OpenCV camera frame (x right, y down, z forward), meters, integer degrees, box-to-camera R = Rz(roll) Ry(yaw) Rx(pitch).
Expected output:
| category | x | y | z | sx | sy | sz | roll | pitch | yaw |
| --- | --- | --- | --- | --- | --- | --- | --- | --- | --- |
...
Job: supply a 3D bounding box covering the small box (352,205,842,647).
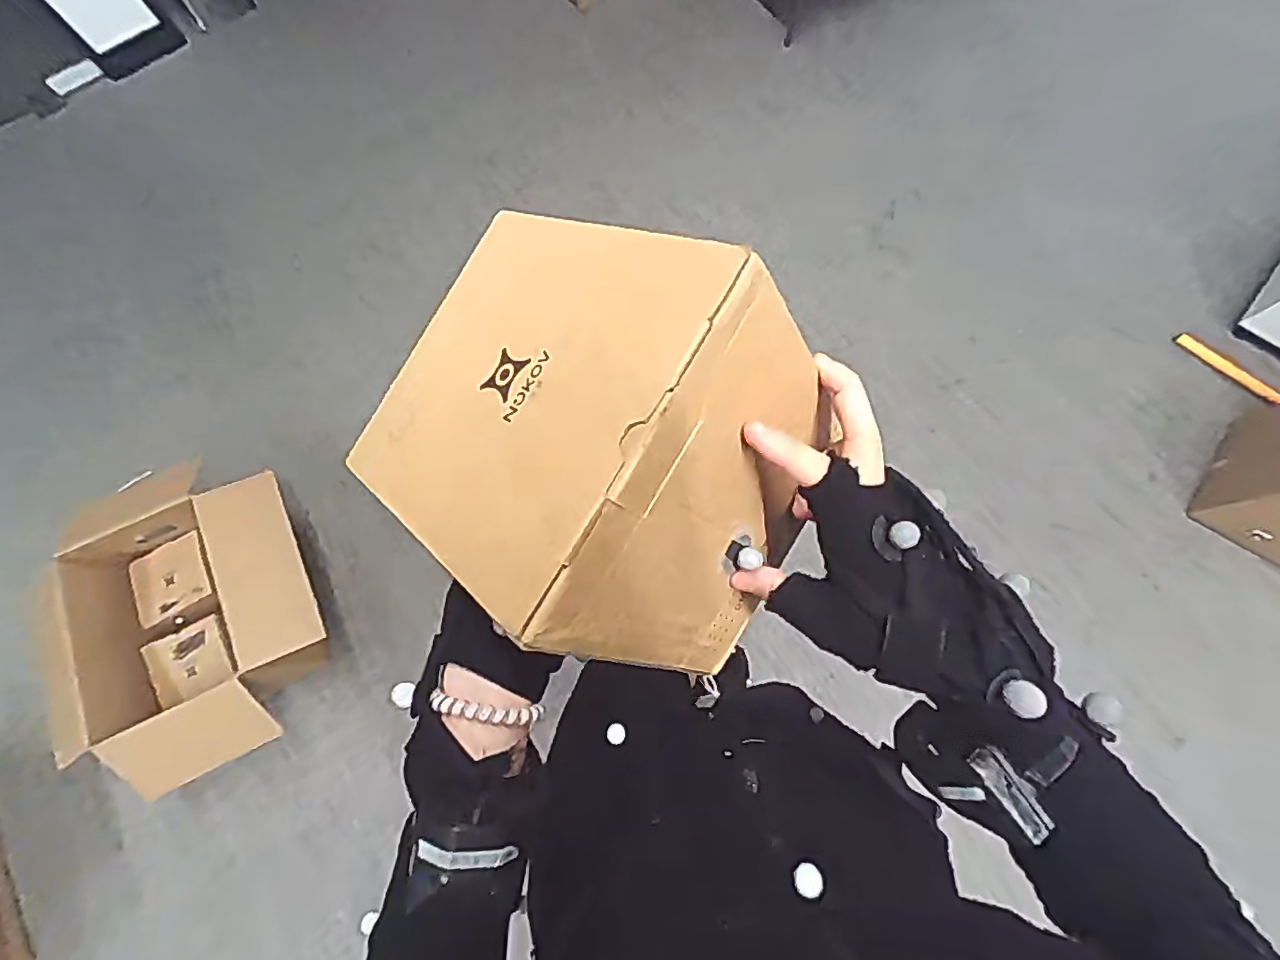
| category | x | y | z | sx | sy | sz | roll | pitch | yaw |
| --- | --- | --- | --- | --- | --- | --- | --- | --- | --- |
| small box | -0.015 | -0.022 | 0.308 | 0.179 | 0.176 | 0.168 | 29 | 87 | 37 |
